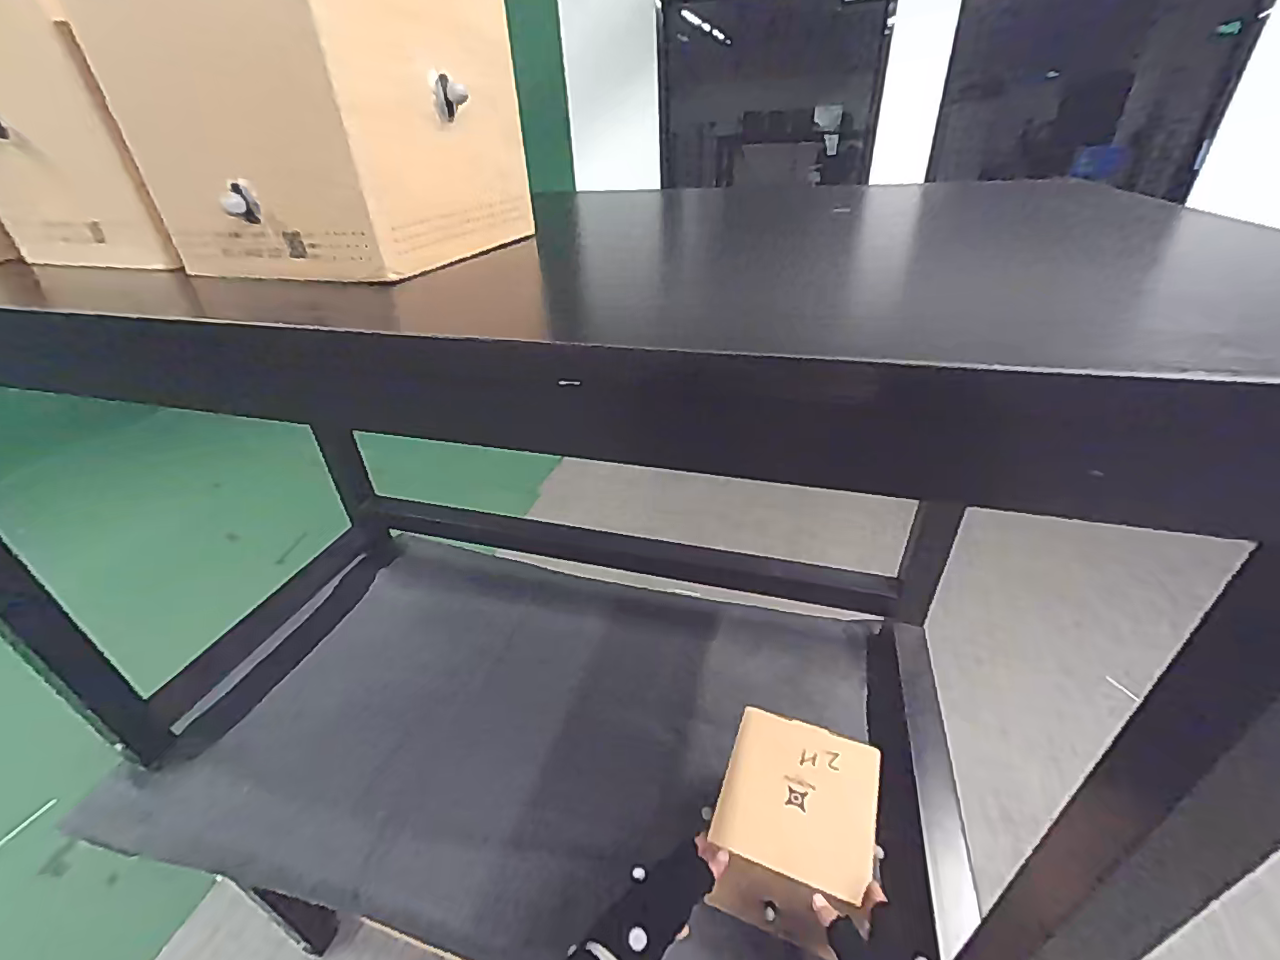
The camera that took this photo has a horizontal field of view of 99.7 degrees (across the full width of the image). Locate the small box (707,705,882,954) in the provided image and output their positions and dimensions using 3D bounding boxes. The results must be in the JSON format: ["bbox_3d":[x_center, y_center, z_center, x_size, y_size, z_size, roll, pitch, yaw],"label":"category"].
[{"bbox_3d":[0.186,0.420,0.658,0.168,0.176,0.179,12,37,21],"label":"small box"}]

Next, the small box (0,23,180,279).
[{"bbox_3d":[-0.561,-0.285,0.473,0.168,0.176,0.179,8,35,17],"label":"small box"}]
